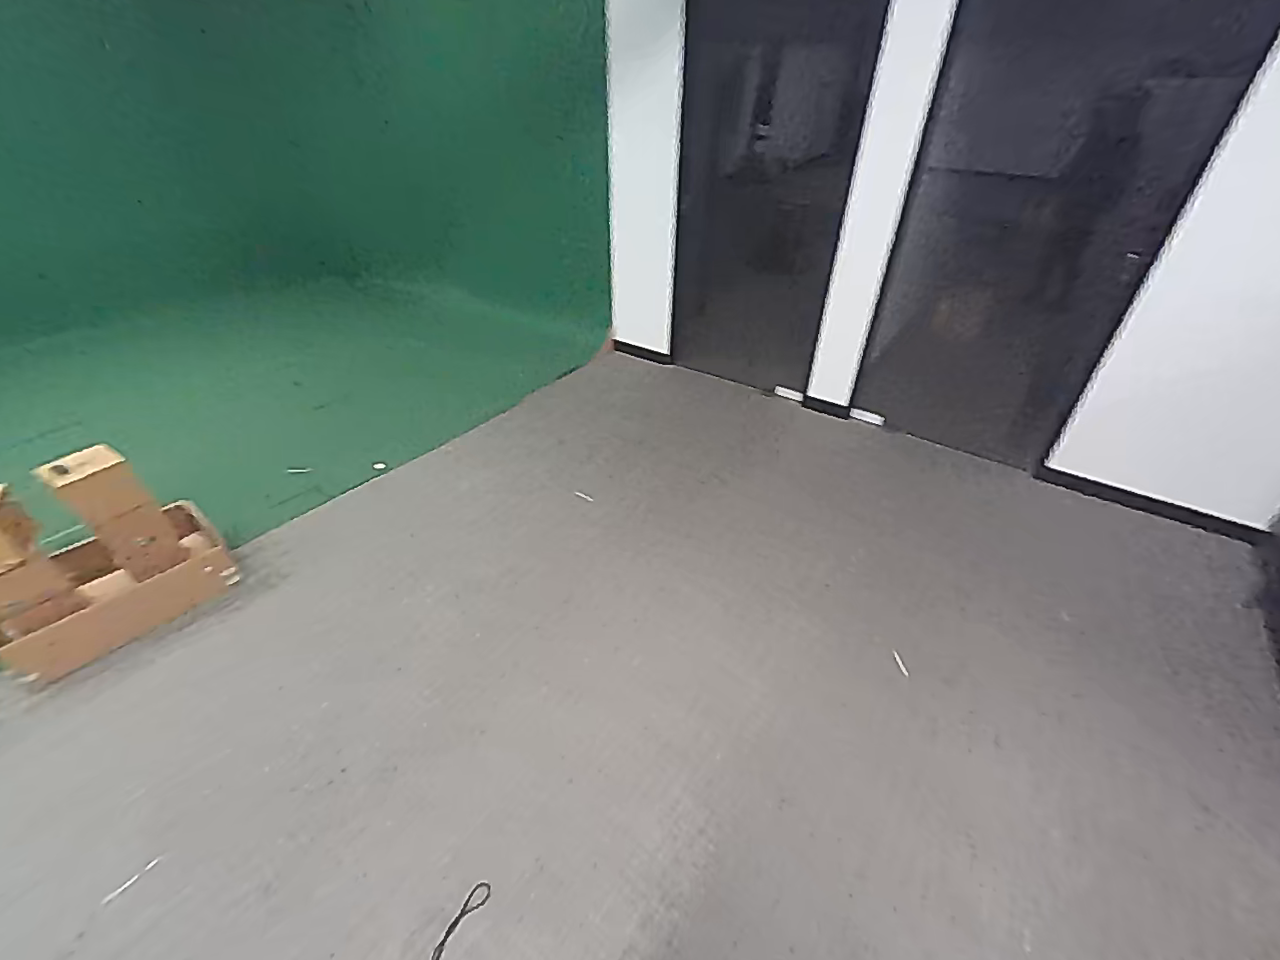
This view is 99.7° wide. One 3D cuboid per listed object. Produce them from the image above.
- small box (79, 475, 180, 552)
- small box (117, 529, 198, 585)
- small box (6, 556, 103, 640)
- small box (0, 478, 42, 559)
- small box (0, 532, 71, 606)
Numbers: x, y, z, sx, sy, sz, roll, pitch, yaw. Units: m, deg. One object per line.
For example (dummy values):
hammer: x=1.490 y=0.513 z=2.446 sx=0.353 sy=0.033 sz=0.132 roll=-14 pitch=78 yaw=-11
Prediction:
small box: x=-1.741 y=0.117 z=1.851 sx=0.179 sy=0.176 sz=0.168 roll=23 pitch=44 yaw=23
small box: x=-1.747 y=0.246 z=1.950 sx=0.179 sy=0.176 sz=0.168 roll=30 pitch=45 yaw=31
small box: x=-1.908 y=0.383 z=1.749 sx=0.179 sy=0.176 sz=0.168 roll=25 pitch=42 yaw=27
small box: x=-1.884 y=0.127 z=1.547 sx=0.168 sy=0.176 sz=0.179 roll=-17 pitch=40 yaw=-26
small box: x=-1.897 y=0.257 z=1.644 sx=0.179 sy=0.176 sz=0.168 roll=25 pitch=41 yaw=29
